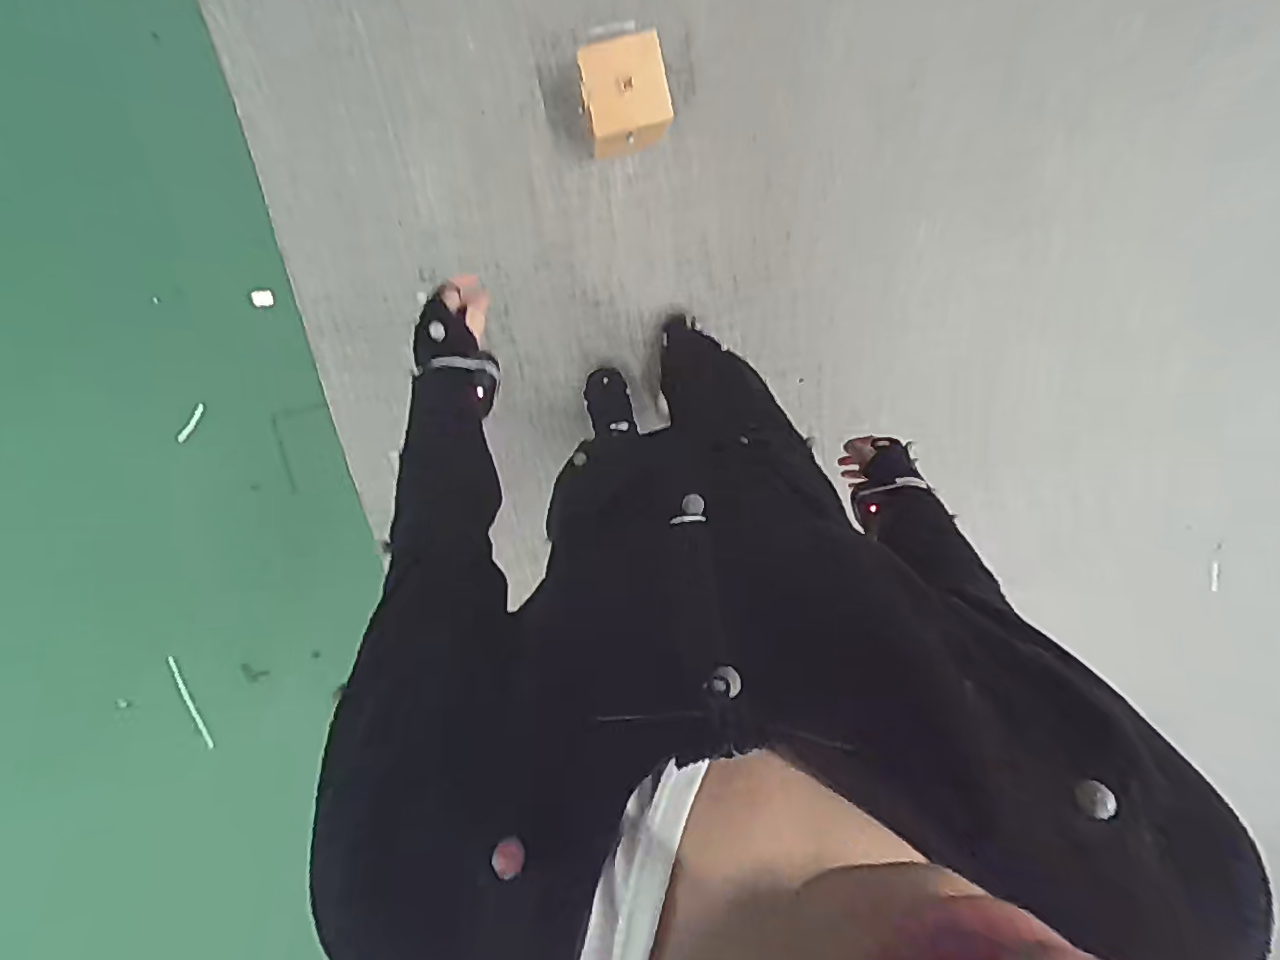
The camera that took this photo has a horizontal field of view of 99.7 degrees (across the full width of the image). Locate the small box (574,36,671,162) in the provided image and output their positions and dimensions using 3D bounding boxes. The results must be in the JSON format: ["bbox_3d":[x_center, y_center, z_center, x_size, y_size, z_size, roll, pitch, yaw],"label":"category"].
[{"bbox_3d":[-0.042,-0.835,1.202,0.179,0.176,0.168,-15,106,-1],"label":"small box"}]
